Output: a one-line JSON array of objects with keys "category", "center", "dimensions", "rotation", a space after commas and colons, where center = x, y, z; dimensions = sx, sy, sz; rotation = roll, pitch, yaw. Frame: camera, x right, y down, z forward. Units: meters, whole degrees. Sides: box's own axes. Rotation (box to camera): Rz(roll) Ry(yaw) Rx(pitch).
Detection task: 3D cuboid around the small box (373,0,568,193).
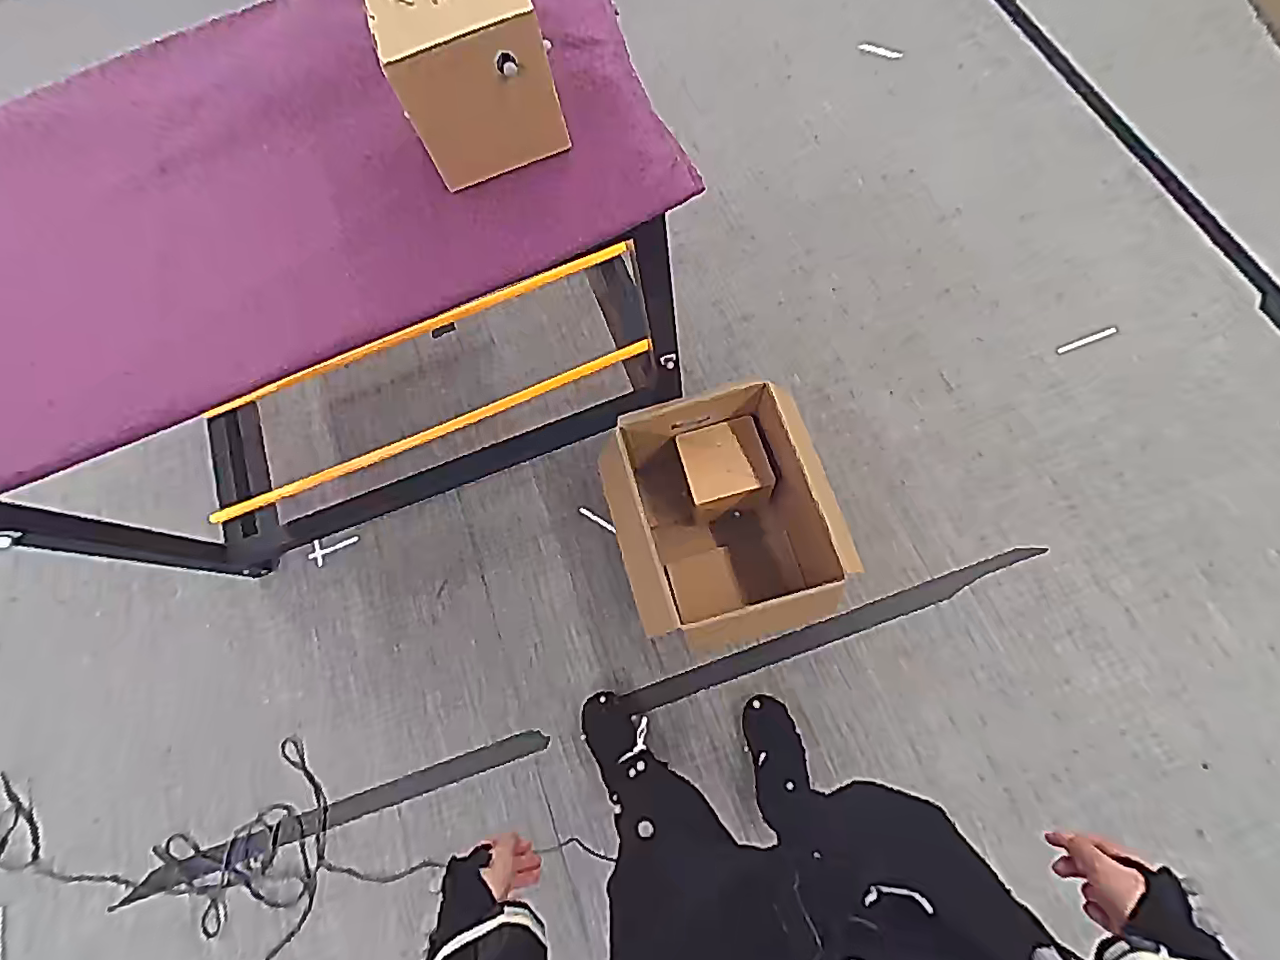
[{"category": "small box", "center": [-0.200, -0.506, 0.680], "dimensions": [0.179, 0.176, 0.168], "rotation": [-20, 70, 0]}]
